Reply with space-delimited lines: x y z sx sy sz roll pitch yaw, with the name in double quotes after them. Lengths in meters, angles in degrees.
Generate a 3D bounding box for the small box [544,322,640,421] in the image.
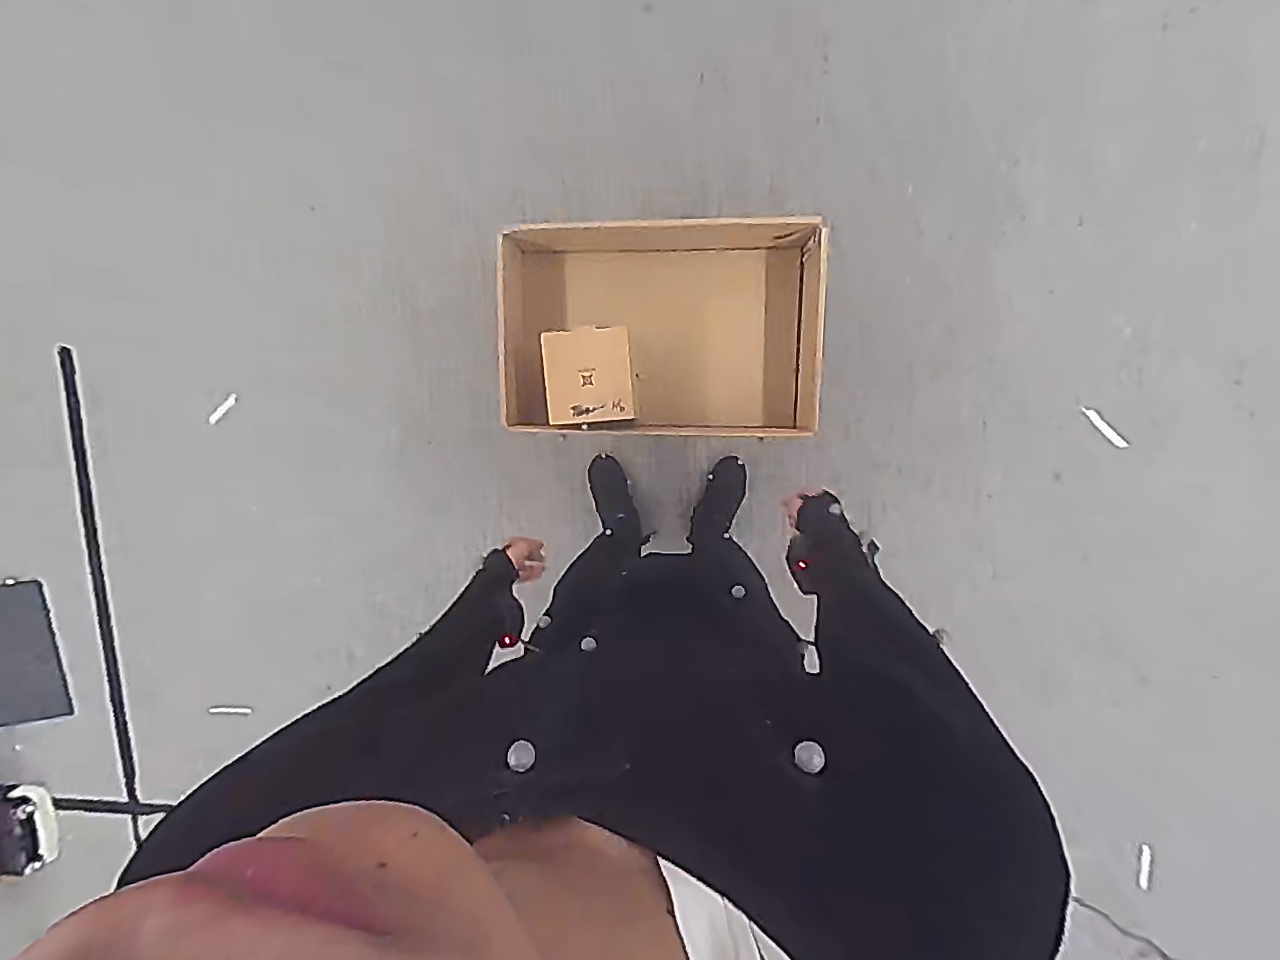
-0.090 -0.211 1.097 0.168 0.176 0.179 -3 96 5 "small box"
